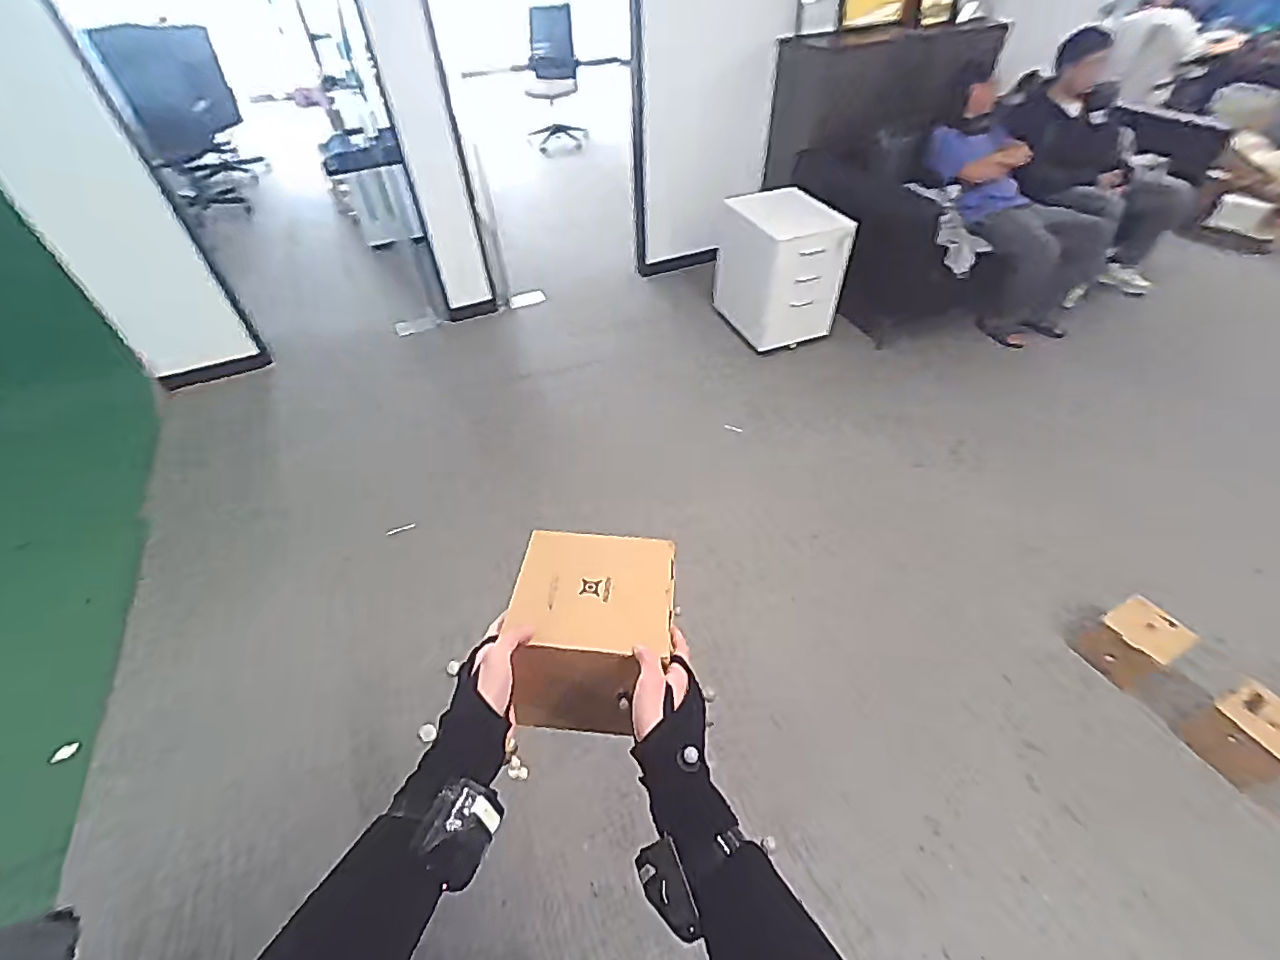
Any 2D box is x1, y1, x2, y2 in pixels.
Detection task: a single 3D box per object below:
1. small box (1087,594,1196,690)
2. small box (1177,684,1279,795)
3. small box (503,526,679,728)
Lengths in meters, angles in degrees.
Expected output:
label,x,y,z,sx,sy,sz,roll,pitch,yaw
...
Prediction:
label,x,y,z,sx,sy,sz,roll,pitch,yaw
small box,1.419,0.465,1.544,0.179,0.176,0.168,22,48,24
small box,1.536,0.653,1.360,0.168,0.176,0.179,-18,46,-12
small box,-0.048,0.179,0.658,0.179,0.176,0.168,4,38,4
